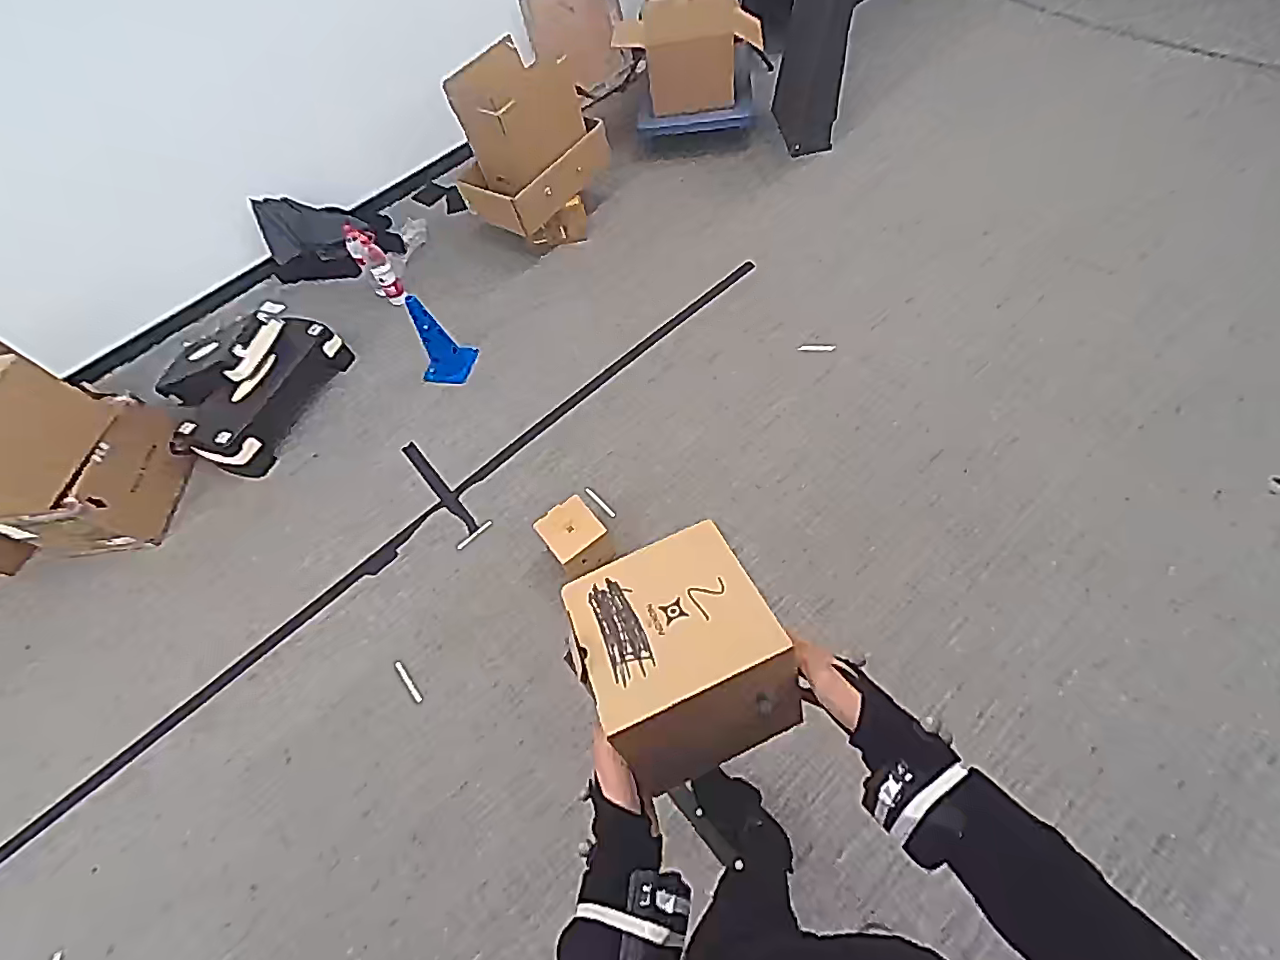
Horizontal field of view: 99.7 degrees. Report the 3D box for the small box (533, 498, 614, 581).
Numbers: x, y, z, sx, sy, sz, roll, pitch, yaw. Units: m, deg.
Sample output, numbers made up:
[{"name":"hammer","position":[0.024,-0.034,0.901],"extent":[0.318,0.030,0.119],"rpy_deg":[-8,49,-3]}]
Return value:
[{"name":"small box","position":[-0.203,0.194,1.693],"extent":[0.168,0.176,0.179],"rpy_deg":[-37,60,-13]}]
